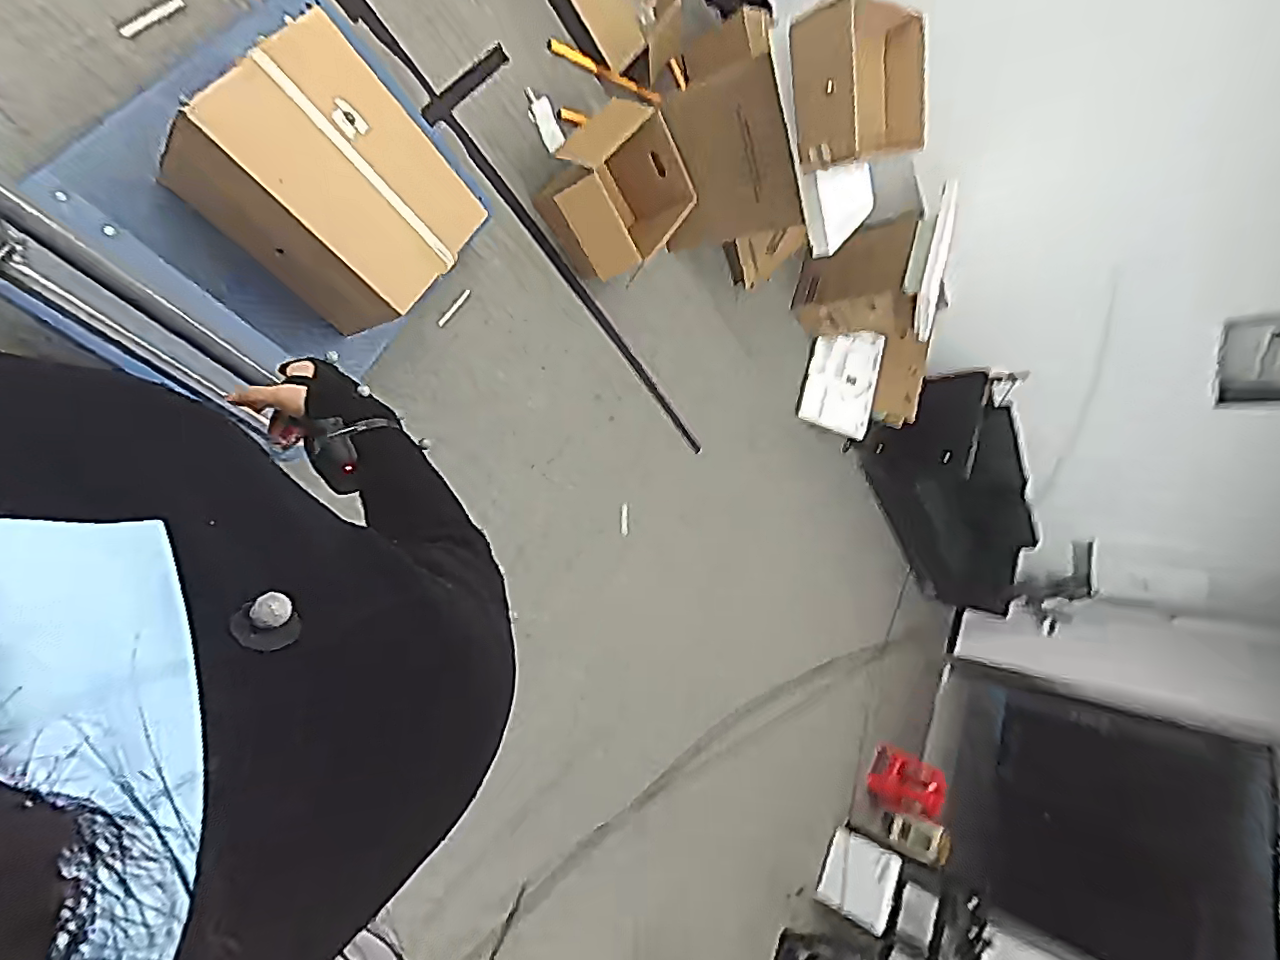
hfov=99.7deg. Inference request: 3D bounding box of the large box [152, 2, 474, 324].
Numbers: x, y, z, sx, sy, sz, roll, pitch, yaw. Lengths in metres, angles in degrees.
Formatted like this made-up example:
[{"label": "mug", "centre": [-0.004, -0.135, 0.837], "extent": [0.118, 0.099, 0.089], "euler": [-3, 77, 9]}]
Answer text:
[{"label": "large box", "centre": [-0.628, -0.578, 1.074], "extent": [0.408, 0.320, 0.320], "euler": [46, 60, -38]}]
